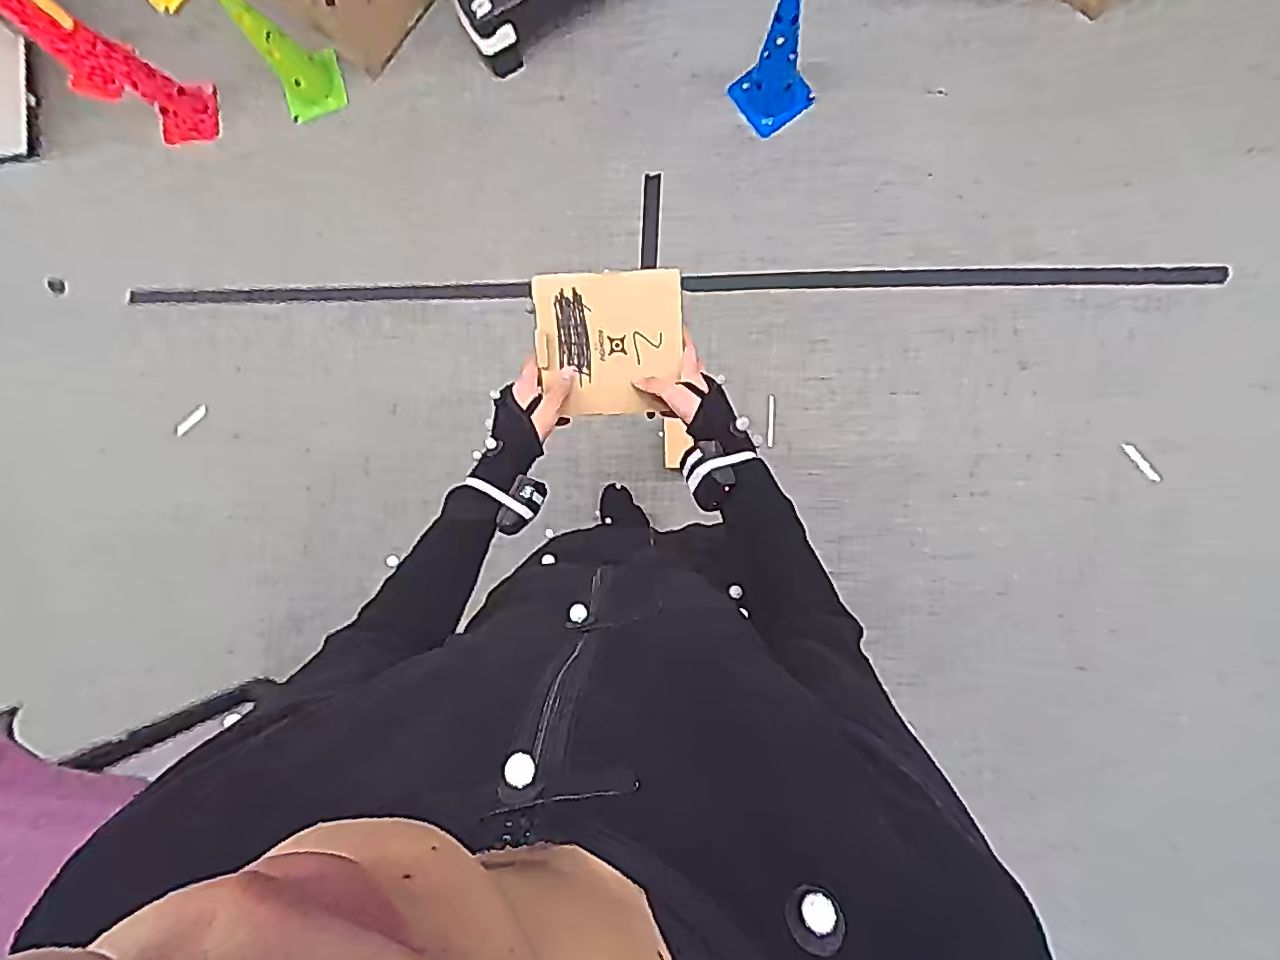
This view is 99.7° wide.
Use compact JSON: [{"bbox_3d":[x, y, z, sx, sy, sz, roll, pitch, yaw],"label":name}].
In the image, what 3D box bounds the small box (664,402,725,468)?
[{"bbox_3d":[0.157,-0.122,1.536,0.168,0.176,0.179,-2,89,6],"label":"small box"}]
